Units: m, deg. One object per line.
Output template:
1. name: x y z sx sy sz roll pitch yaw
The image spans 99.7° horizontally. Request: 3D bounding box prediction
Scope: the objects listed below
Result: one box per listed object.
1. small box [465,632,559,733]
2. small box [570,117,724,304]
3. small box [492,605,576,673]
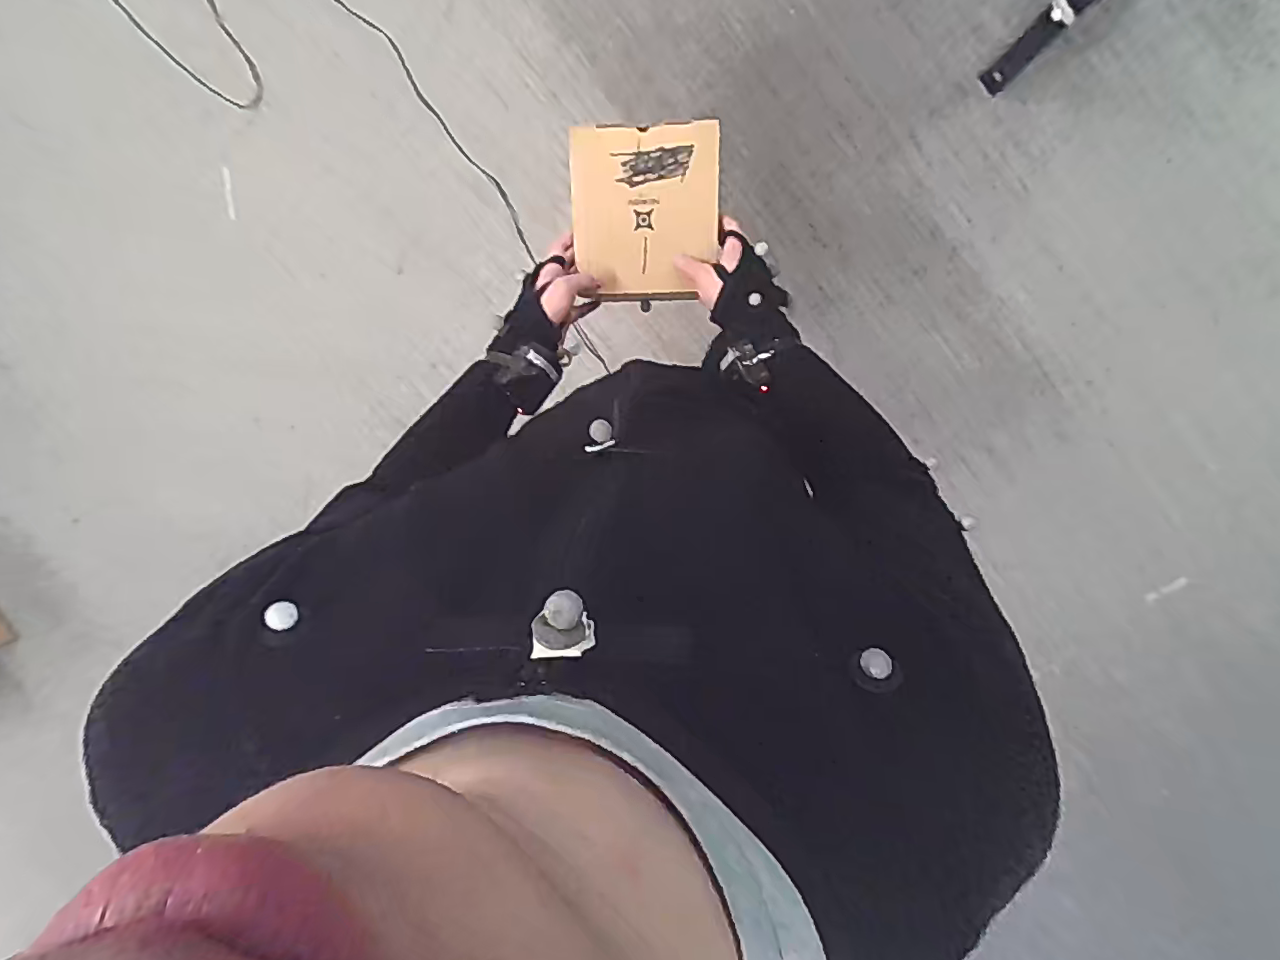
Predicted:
1. small box: -0.349 0.564 1.529 0.179 0.176 0.168 -39 94 19
2. small box: 0.010 -0.314 0.663 0.168 0.176 0.179 0 105 4
3. small box: -0.319 0.522 1.683 0.179 0.176 0.168 -40 95 17
